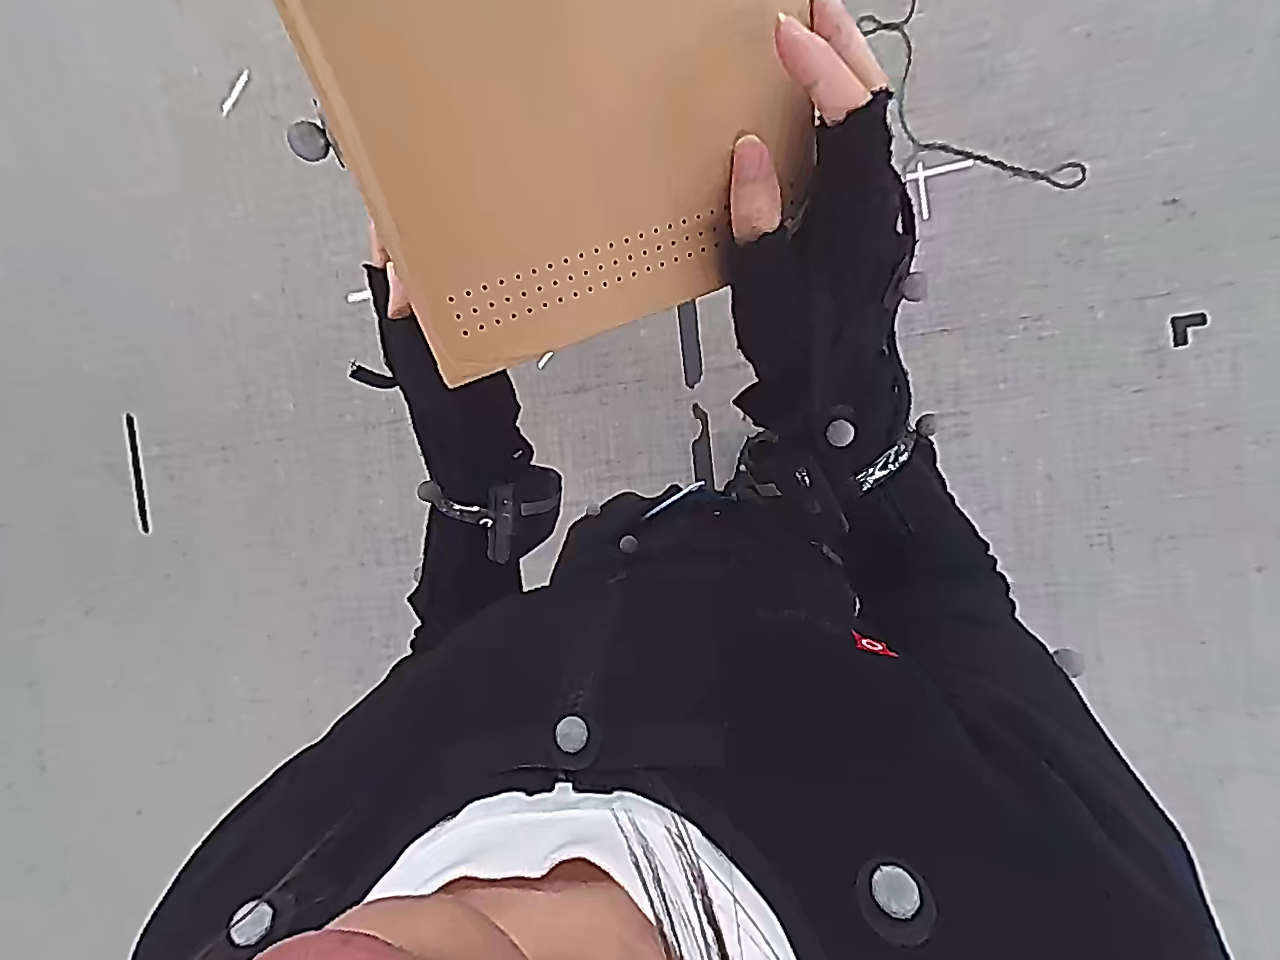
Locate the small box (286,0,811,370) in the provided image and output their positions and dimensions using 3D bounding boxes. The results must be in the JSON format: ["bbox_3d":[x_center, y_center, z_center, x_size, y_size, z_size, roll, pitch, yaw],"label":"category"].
[{"bbox_3d":[-0.039,-0.170,0.249,0.179,0.168,0.176,-24,126,-12],"label":"small box"}]
